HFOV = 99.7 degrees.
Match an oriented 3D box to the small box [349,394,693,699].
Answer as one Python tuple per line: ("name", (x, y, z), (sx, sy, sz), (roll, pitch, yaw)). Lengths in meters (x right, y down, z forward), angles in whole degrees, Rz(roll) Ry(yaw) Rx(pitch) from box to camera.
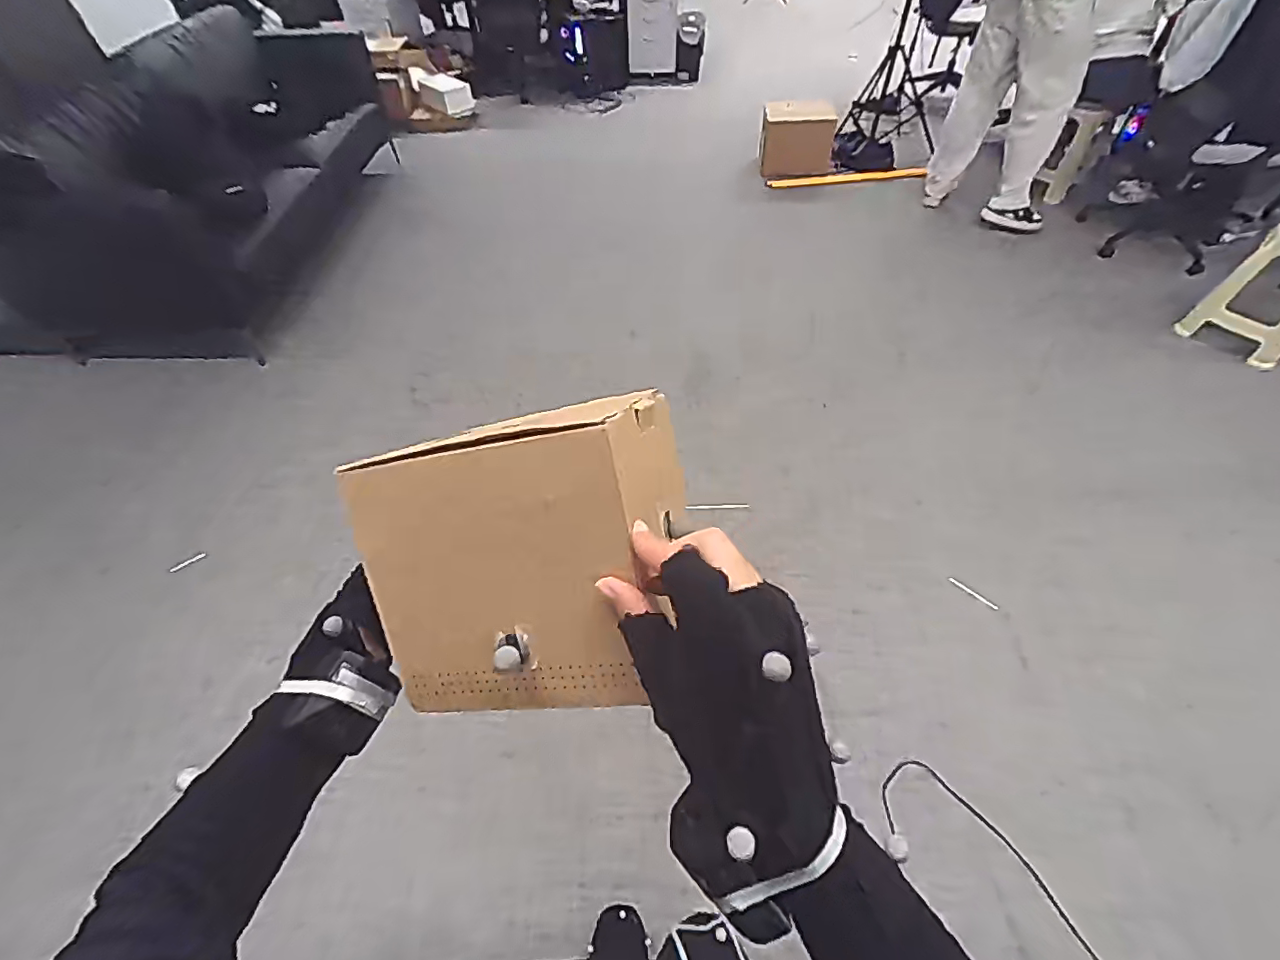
("small box", (-0.065, 0.042, 0.401), (0.179, 0.176, 0.168), (-8, 12, 16))
